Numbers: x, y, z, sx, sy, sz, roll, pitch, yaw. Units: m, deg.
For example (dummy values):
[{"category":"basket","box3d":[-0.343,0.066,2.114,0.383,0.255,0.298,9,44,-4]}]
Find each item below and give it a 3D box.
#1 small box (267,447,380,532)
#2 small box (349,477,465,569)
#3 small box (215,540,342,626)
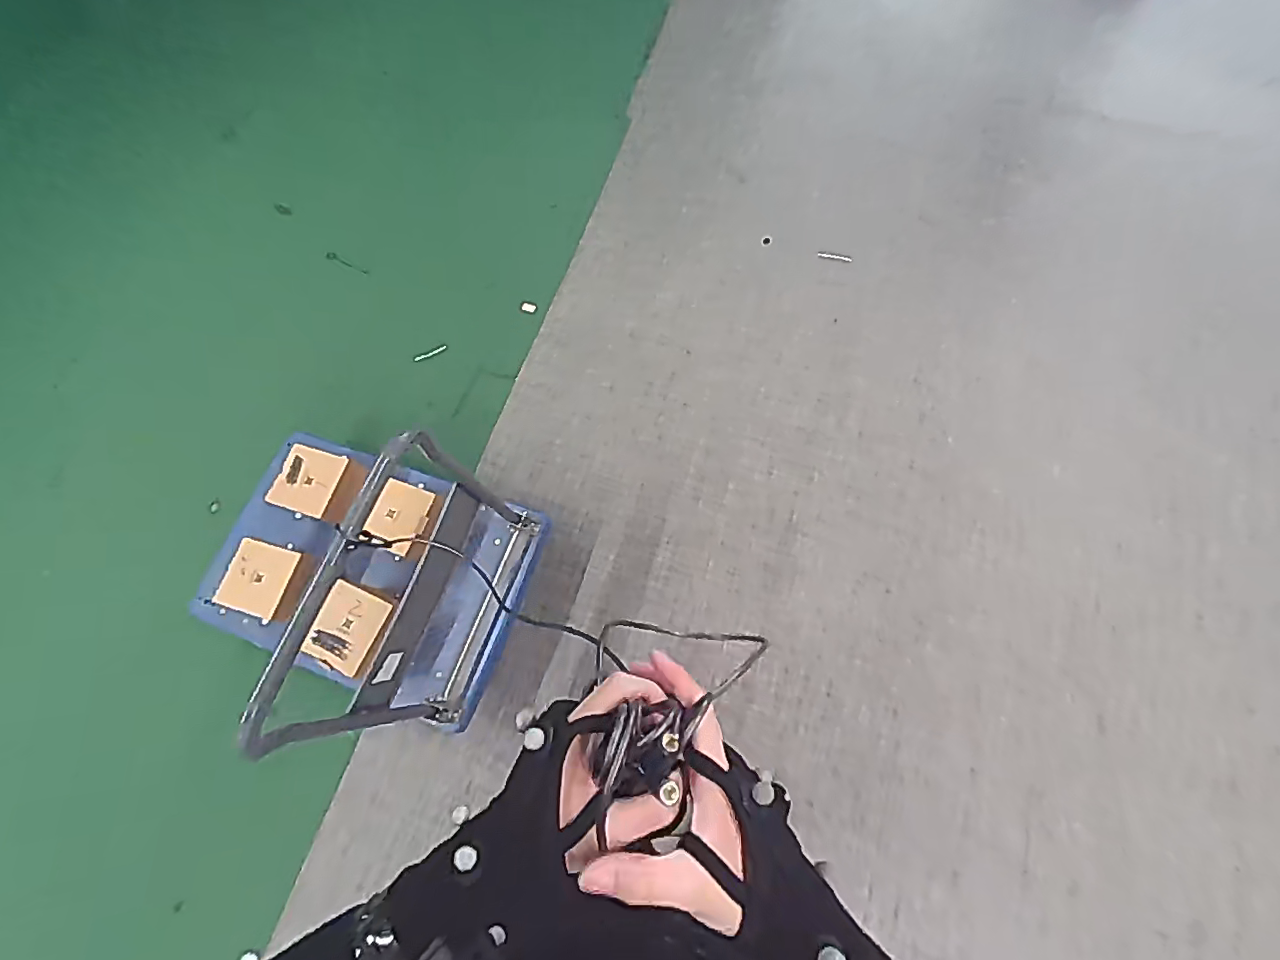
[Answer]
[{"category":"small box","box3d":[-0.829,0.033,1.445,0.179,0.176,0.168,15,75,12]},{"category":"small box","box3d":[-0.586,0.115,1.382,0.179,0.176,0.168,18,74,13]},{"category":"small box","box3d":[-0.906,0.268,1.374,0.179,0.176,0.168,13,72,12]}]
